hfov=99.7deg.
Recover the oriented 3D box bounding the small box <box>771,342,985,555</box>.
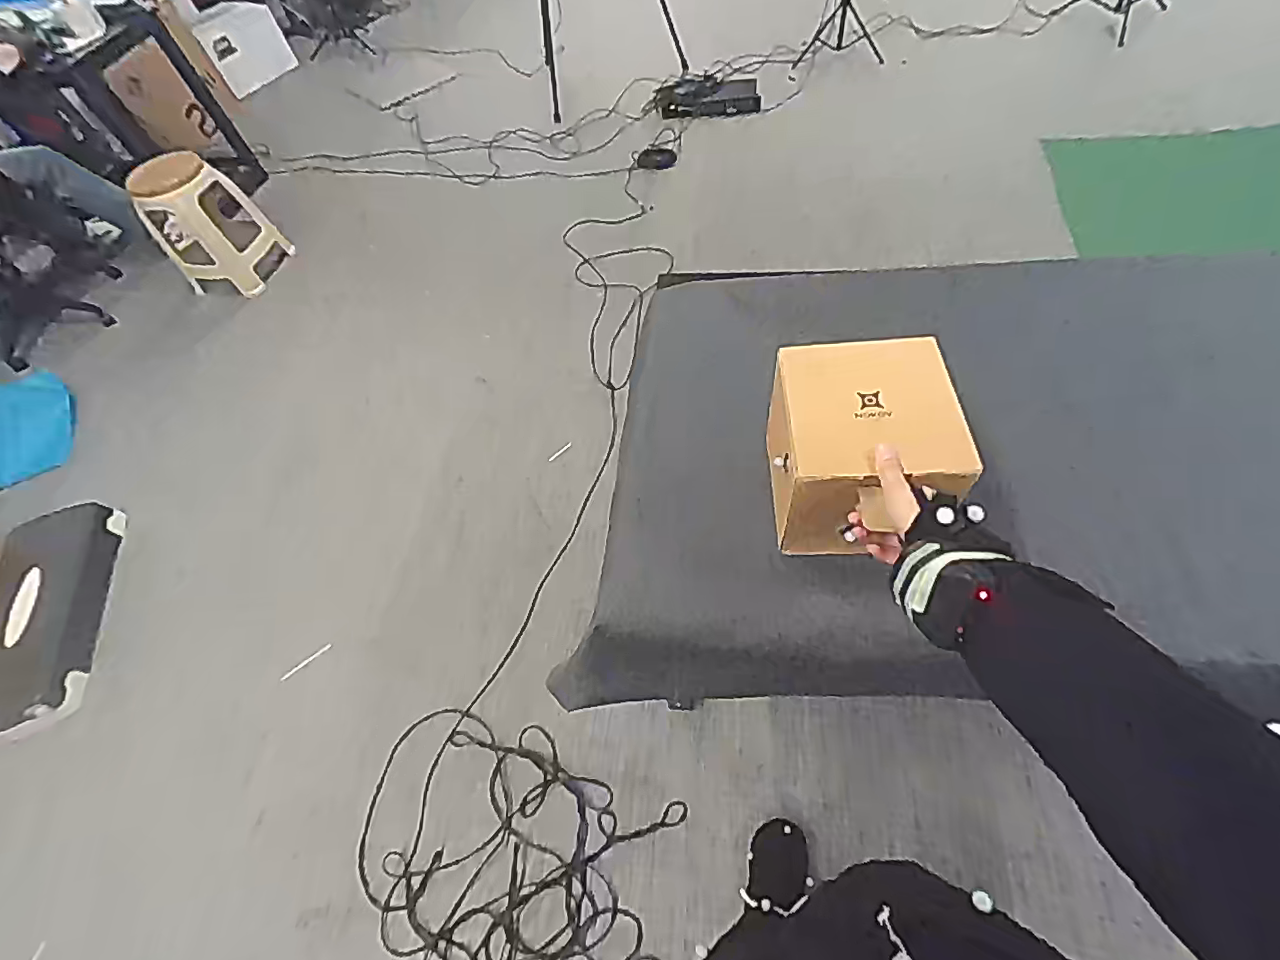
[{"bbox_3d":[0.244,-0.031,0.609,0.168,0.176,0.179,-2,57,7],"label":"small box"}]
